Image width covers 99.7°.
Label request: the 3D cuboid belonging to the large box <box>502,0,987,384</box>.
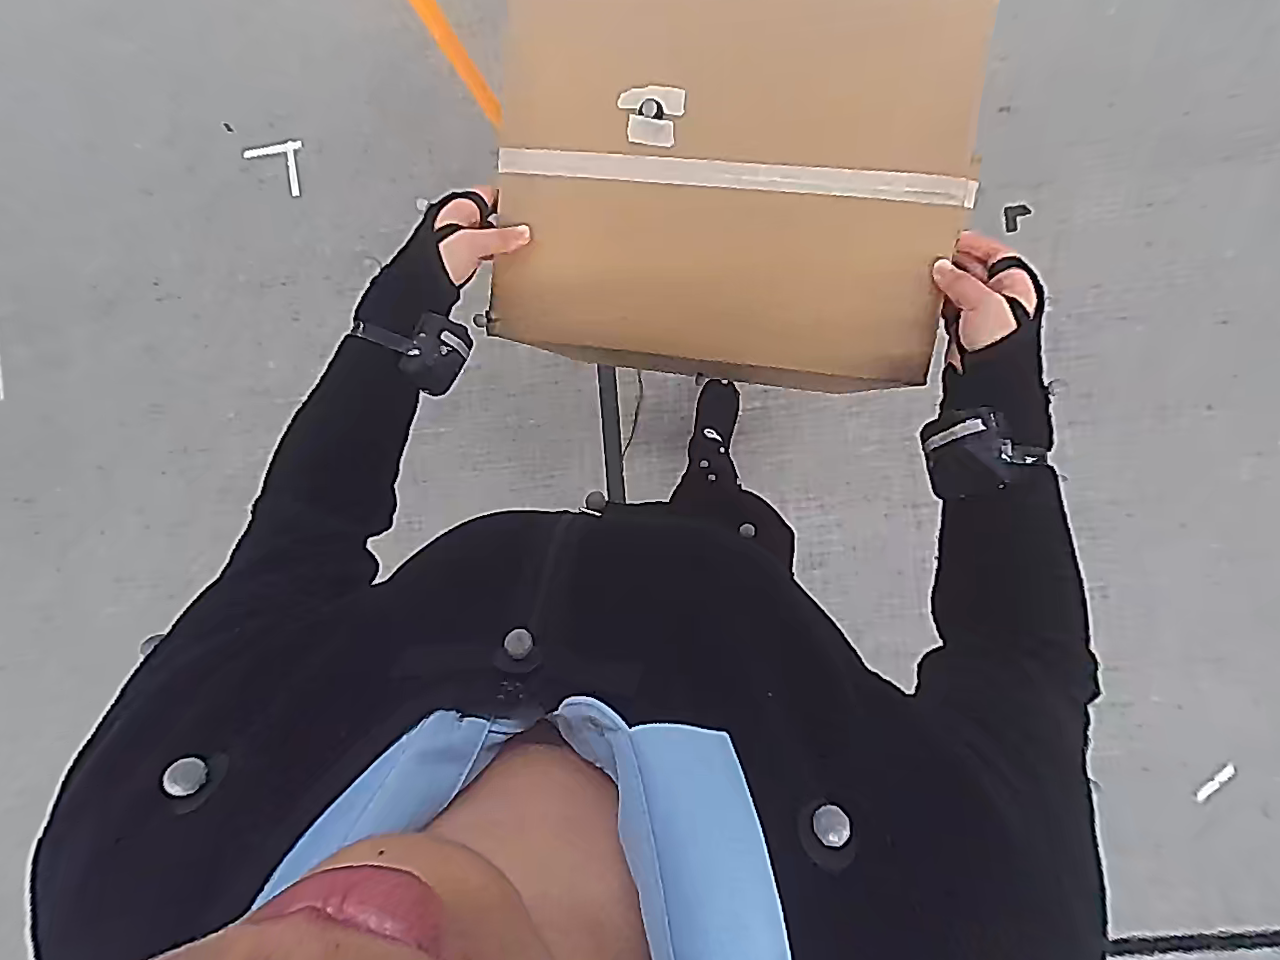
[{"bbox_3d":[0.098,-0.289,0.631,0.408,0.320,0.320,8,97,8],"label":"large box"}]
